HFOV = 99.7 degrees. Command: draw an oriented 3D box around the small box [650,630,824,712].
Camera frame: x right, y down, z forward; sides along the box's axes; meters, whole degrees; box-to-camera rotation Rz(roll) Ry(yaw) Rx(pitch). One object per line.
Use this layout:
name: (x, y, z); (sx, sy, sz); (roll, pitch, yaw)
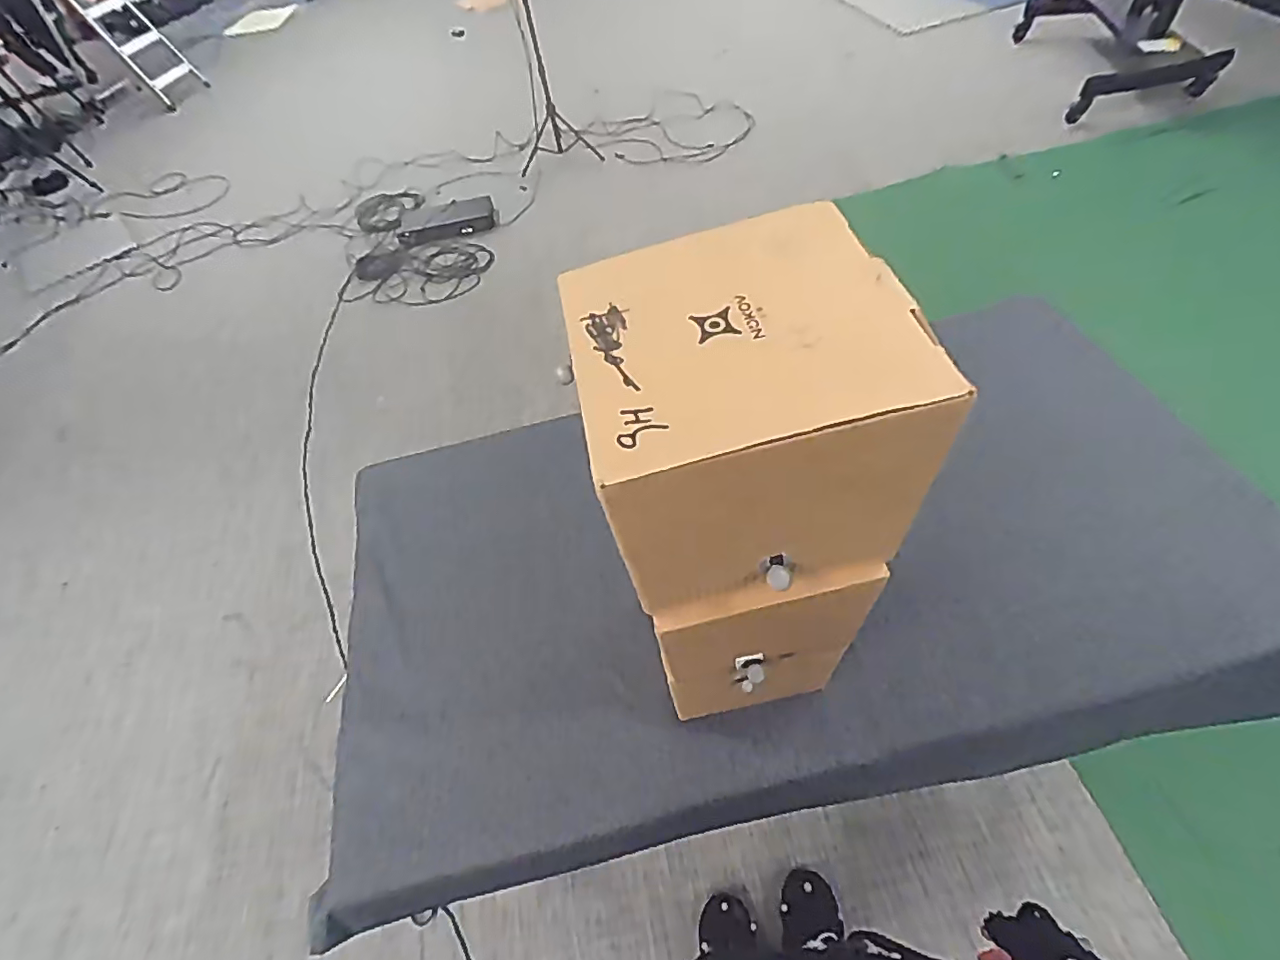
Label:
small box: (0.101, 0.150, 0.615); (0.179, 0.176, 0.168); (-12, 55, 0)

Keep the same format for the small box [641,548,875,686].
small box: (0.079, 0.061, 0.483); (0.168, 0.176, 0.179); (-15, 56, 1)

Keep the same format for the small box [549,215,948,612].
small box: (0.052, -0.033, 0.351); (0.179, 0.176, 0.168); (-13, 55, 1)
